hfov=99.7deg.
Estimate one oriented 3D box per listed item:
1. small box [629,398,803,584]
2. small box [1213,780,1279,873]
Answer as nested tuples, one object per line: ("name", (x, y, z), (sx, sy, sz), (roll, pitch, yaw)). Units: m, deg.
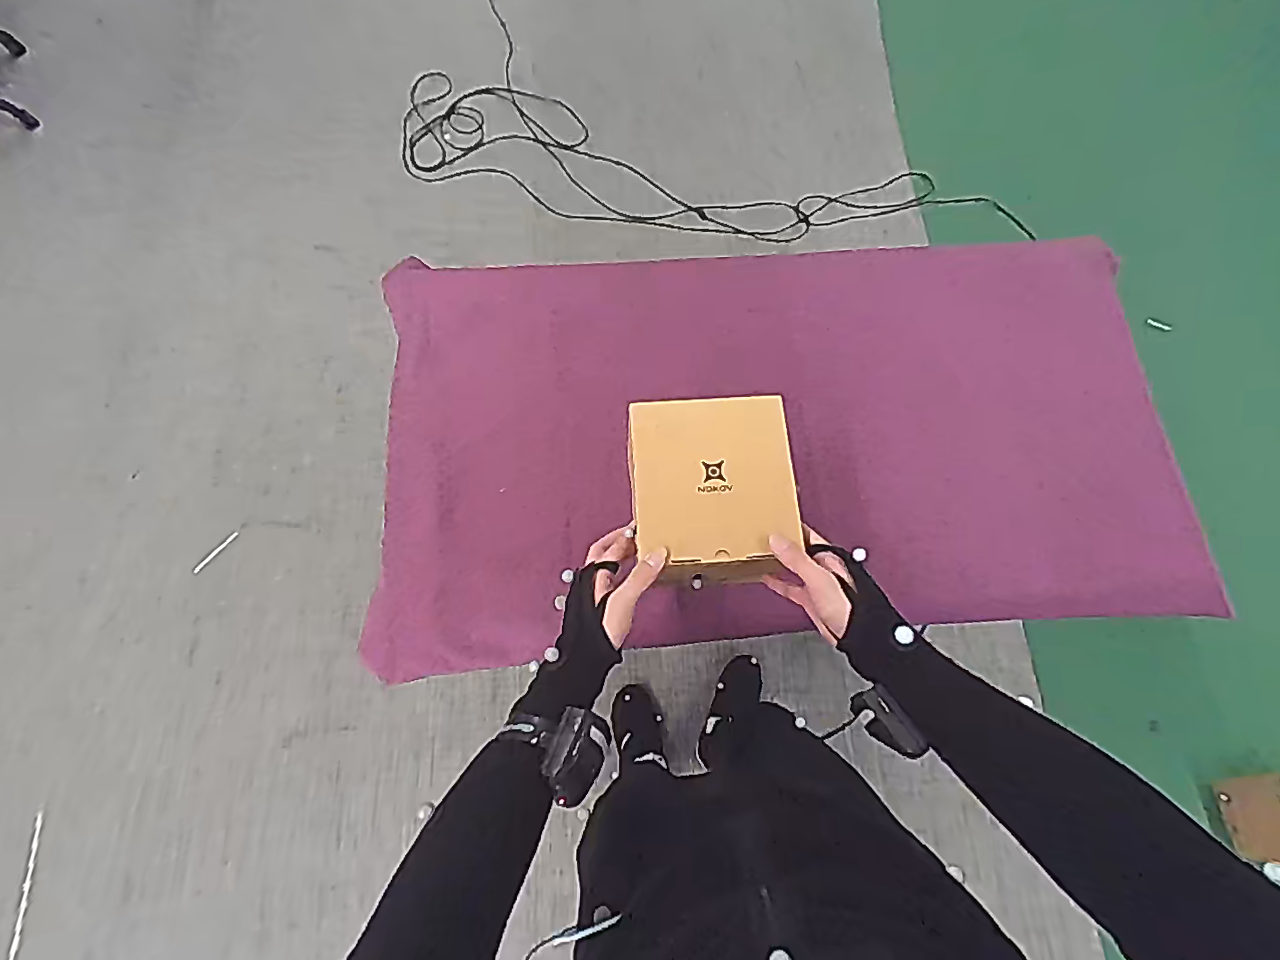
("small box", (0.073, 0.021, 0.630), (0.168, 0.176, 0.179), (-3, 73, -2))
("small box", (1.540, 0.831, 1.289), (0.179, 0.176, 0.168), (-4, 74, -3))
